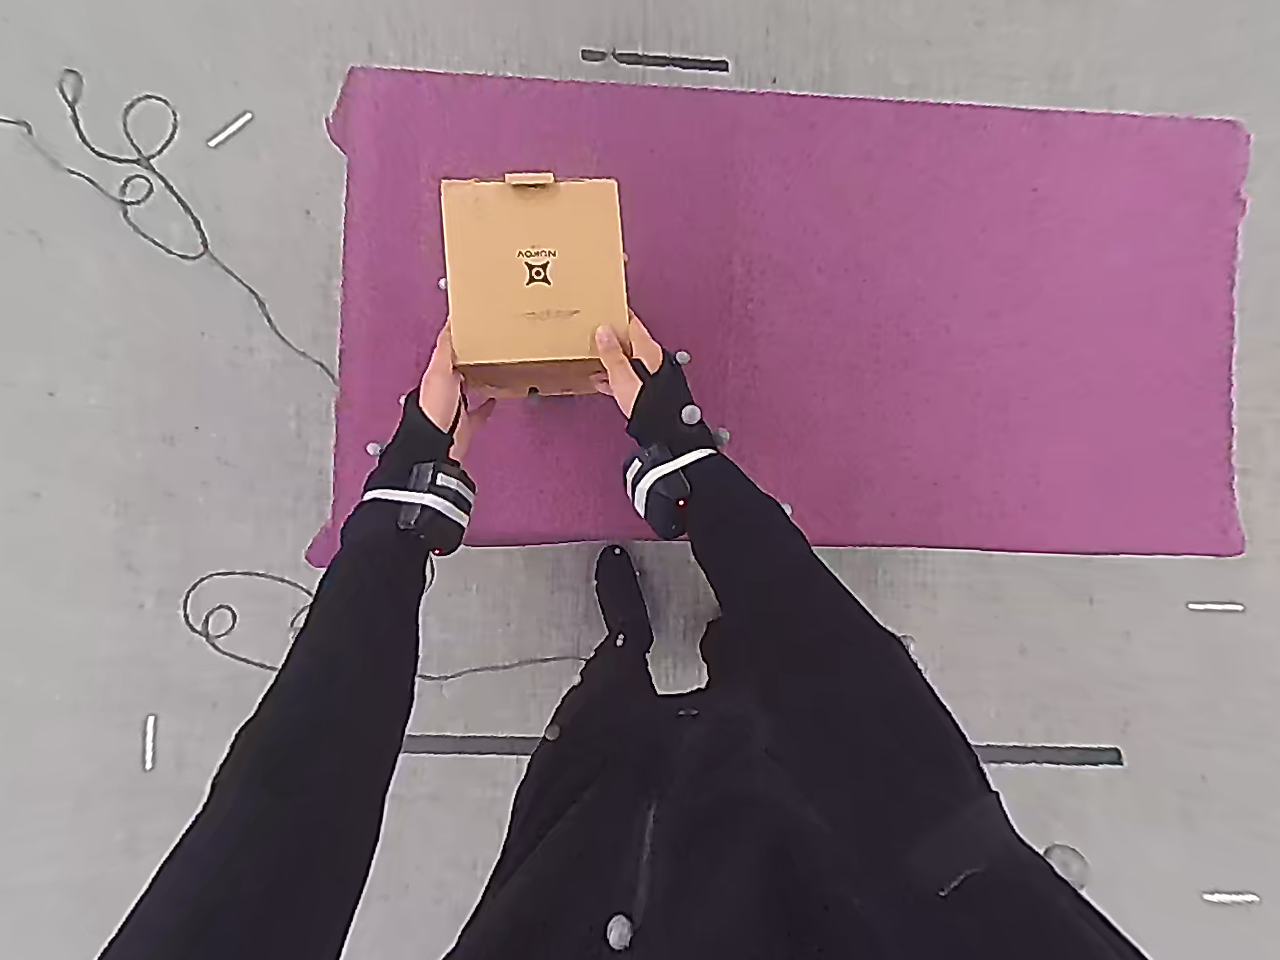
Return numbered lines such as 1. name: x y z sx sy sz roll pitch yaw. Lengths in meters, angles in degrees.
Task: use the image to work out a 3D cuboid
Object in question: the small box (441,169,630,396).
1. small box: -0.106 -0.193 0.571 0.168 0.176 0.179 -4 88 -8
